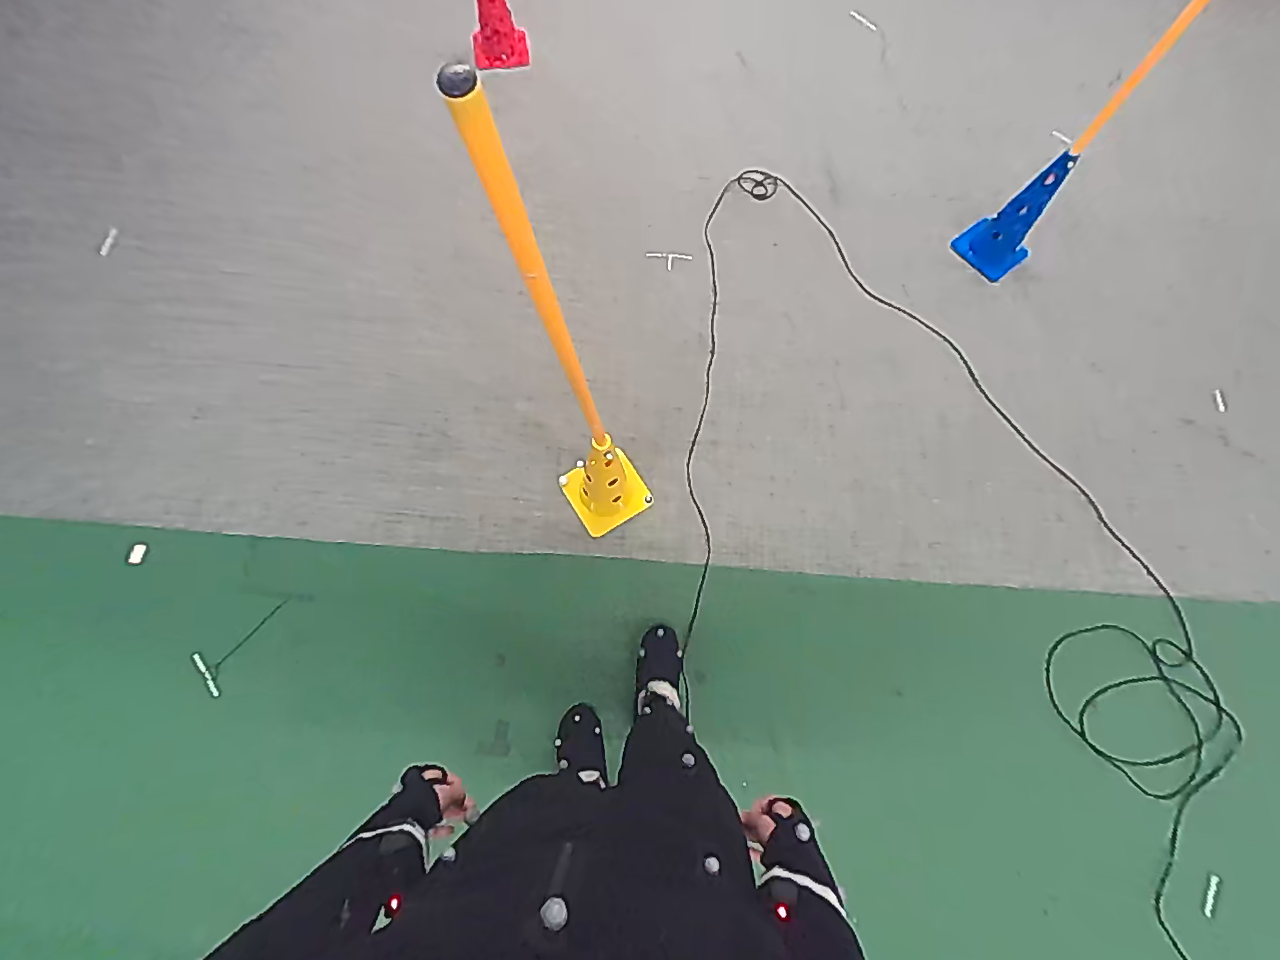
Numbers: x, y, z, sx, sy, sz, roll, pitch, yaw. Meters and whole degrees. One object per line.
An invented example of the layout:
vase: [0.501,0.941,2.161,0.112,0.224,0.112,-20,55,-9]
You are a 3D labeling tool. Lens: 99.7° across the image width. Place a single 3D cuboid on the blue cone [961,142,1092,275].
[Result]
blue cone: [1.167,-0.824,1.608,0.193,0.380,0.192,-39,76,-15]
